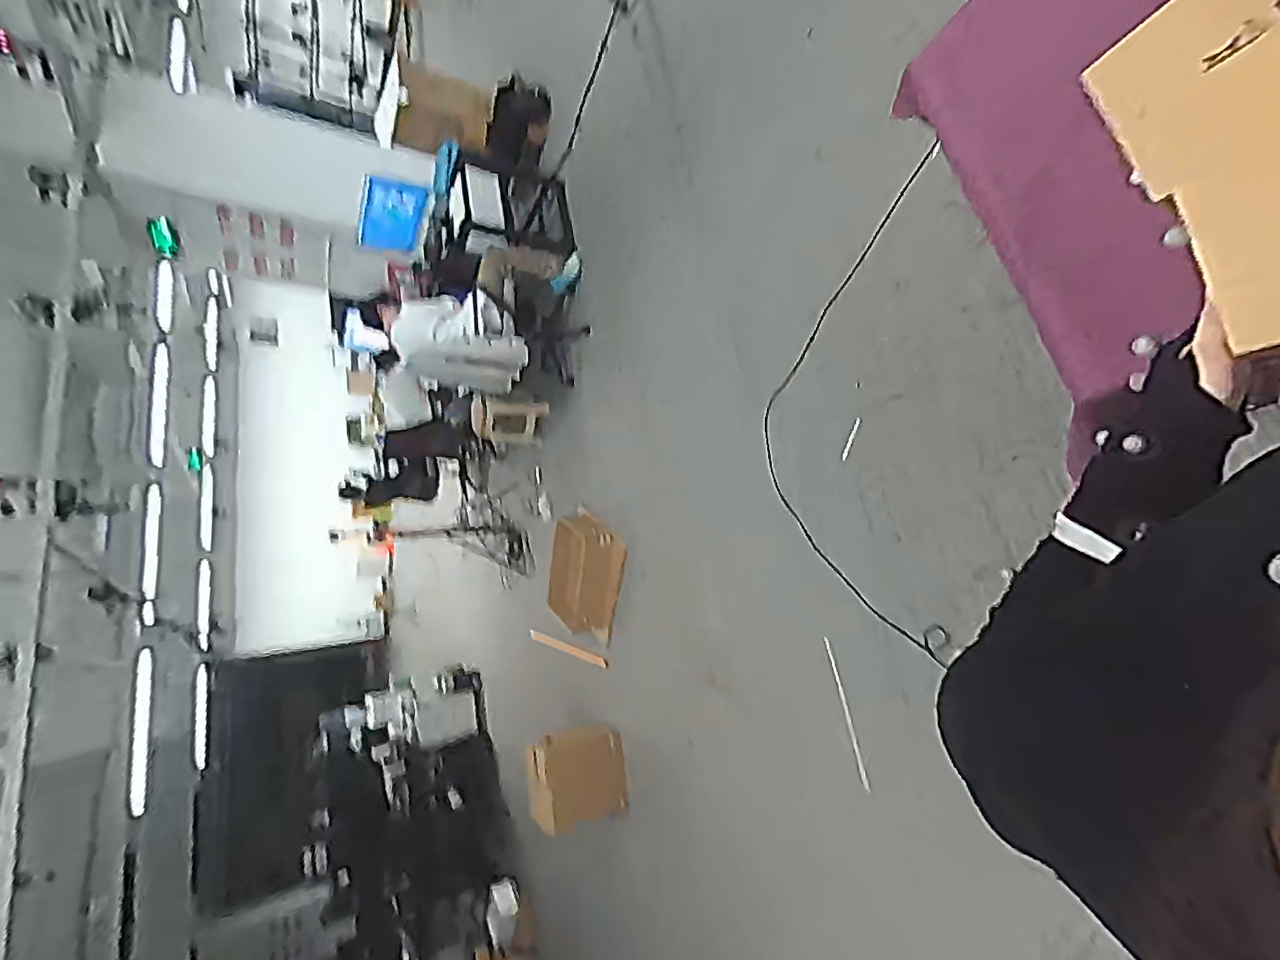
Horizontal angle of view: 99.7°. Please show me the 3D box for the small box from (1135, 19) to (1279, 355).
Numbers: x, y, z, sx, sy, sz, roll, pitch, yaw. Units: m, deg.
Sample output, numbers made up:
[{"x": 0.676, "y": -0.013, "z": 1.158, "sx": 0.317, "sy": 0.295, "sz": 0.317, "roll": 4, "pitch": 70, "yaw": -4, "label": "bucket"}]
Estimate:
[{"x": 0.453, "y": -0.186, "z": 0.319, "sx": 0.168, "sy": 0.176, "sz": 0.179, "roll": -25, "pitch": 72, "yaw": 58, "label": "small box"}]

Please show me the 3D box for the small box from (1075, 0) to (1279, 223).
[{"x": 0.564, "y": -0.363, "z": 0.499, "sx": 0.179, "sy": 0.176, "sz": 0.168, "roll": -35, "pitch": 62, "yaw": 53, "label": "small box"}]
